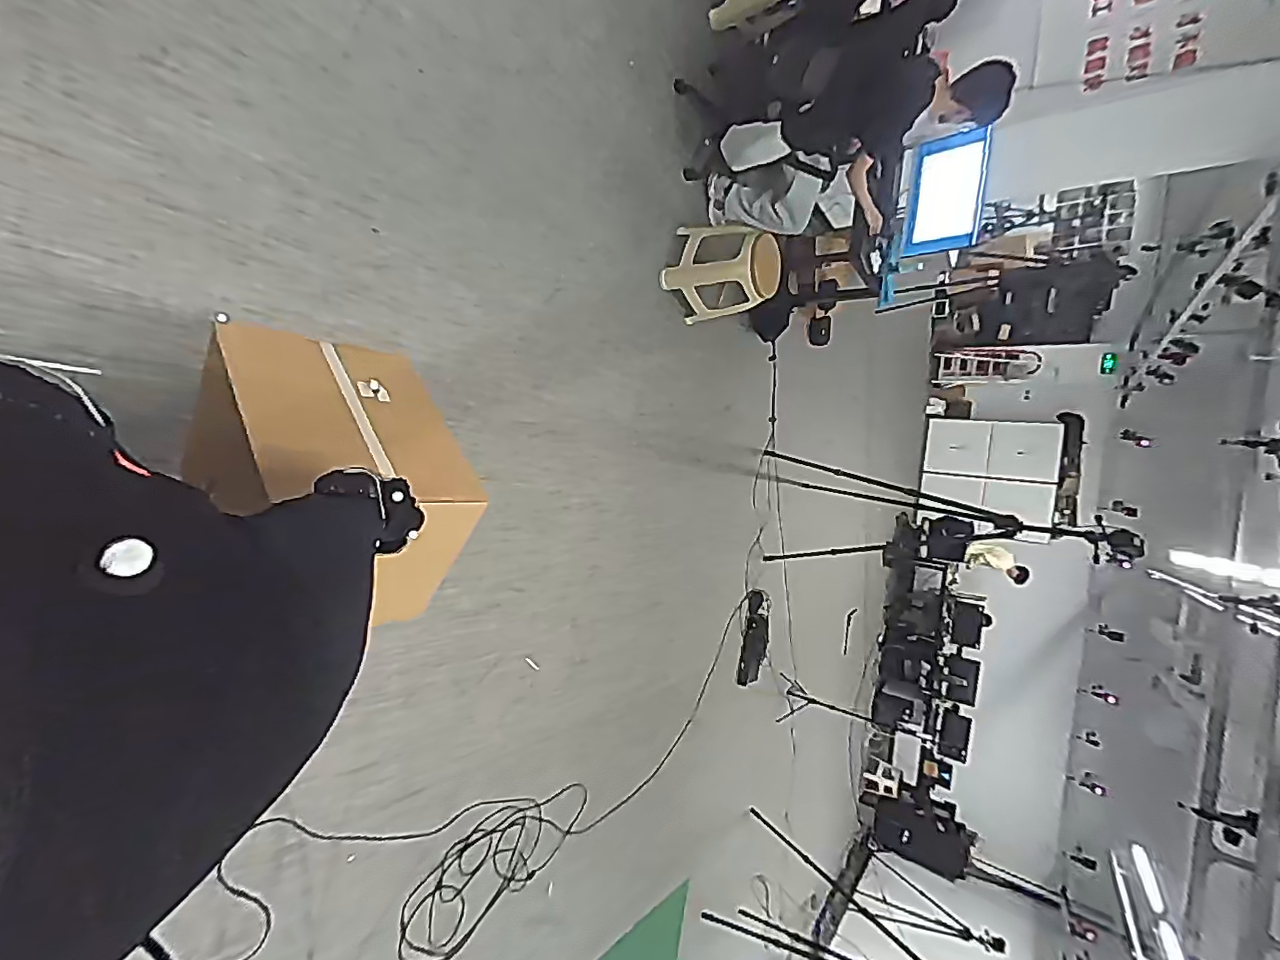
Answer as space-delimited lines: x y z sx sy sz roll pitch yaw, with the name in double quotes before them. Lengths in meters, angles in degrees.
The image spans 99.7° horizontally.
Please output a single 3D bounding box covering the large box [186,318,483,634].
"large box" -0.544 -0.010 0.939 0.320 0.408 0.320 3 132 -51
